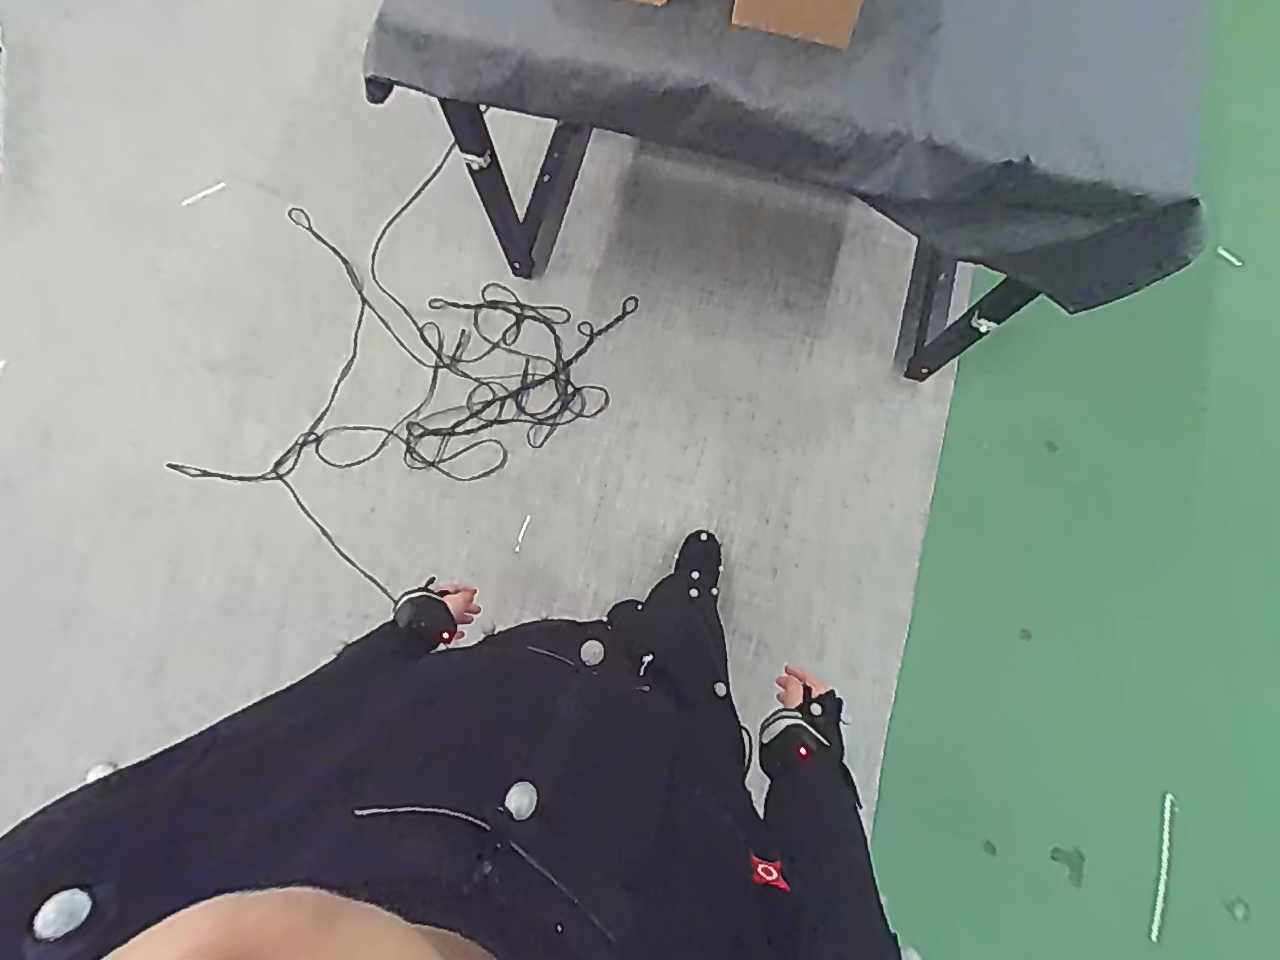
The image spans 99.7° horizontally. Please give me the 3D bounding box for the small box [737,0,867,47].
[{"bbox_3d":[0.245,-0.742,0.737,0.179,0.176,0.168,15,78,5],"label":"small box"}]
